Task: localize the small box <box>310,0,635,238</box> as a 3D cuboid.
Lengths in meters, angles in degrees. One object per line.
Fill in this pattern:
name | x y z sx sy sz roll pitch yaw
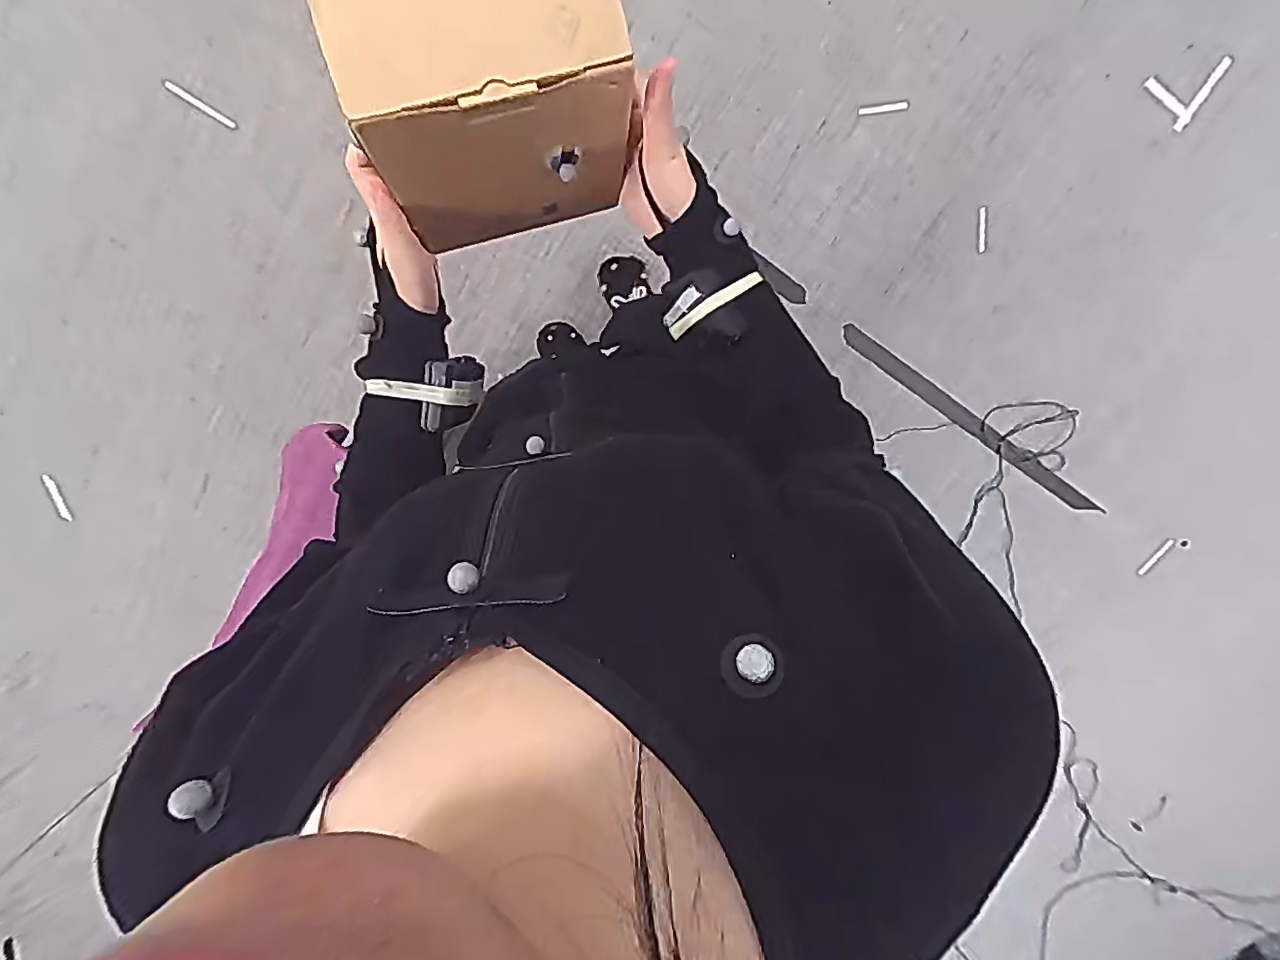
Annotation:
small box | -0.110 -0.292 0.373 0.168 0.176 0.179 -18 91 -7
